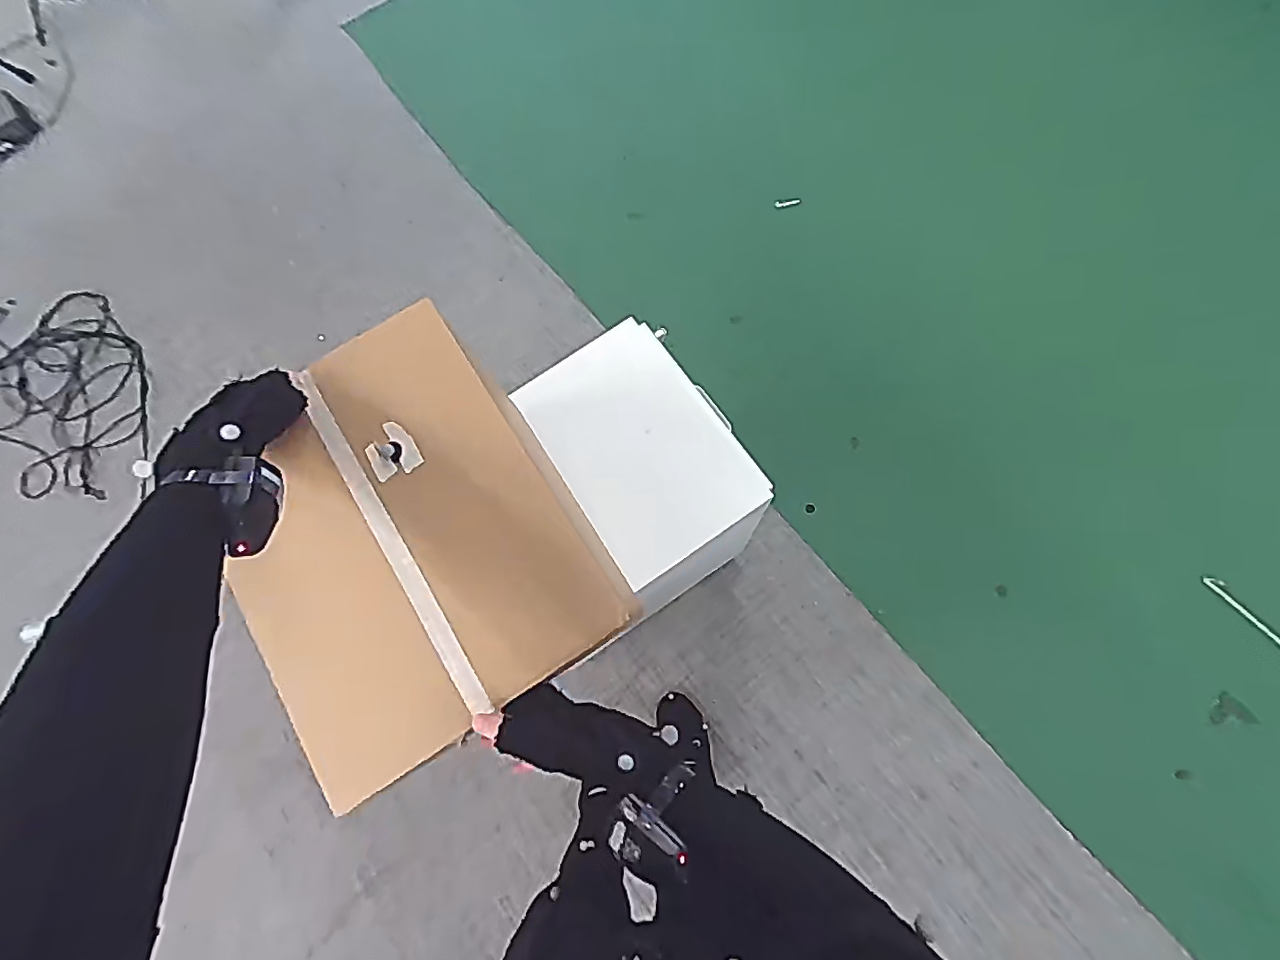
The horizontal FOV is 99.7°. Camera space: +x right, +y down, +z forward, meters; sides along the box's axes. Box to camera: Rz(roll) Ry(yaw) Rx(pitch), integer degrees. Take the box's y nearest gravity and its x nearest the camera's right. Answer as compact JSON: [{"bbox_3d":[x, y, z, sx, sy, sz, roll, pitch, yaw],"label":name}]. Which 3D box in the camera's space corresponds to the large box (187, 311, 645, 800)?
[{"bbox_3d":[-0.237,0.086,0.684,0.320,0.320,0.408,-34,76,-4],"label":"large box"}]
